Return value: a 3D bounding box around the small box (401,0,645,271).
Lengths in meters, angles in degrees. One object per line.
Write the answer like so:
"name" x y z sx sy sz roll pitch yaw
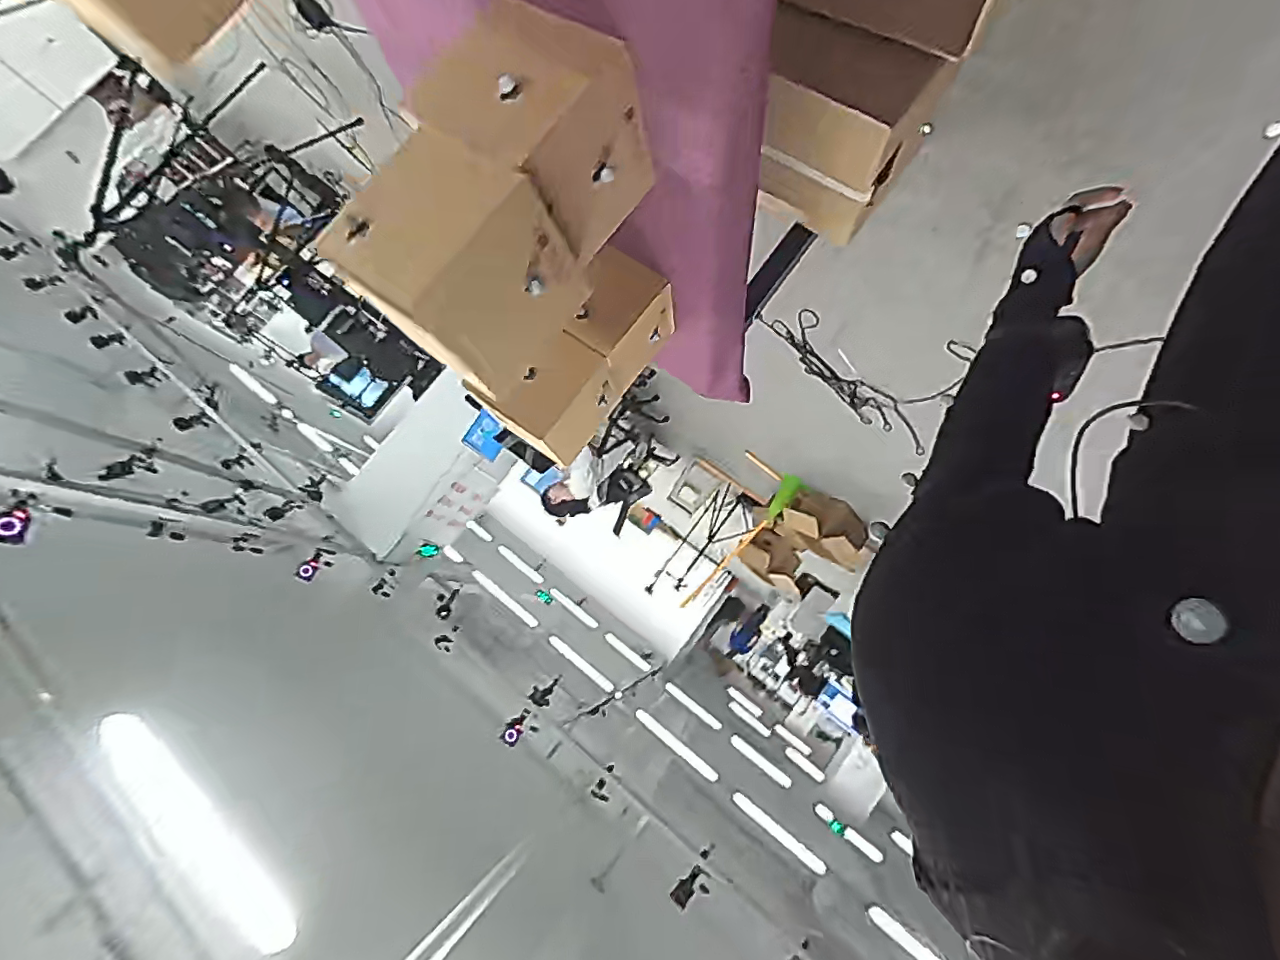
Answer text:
"small box" -0.110 -0.373 0.596 0.179 0.176 0.168 35 173 19

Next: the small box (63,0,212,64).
"small box" -0.251 -0.329 0.214 0.179 0.176 0.168 36 175 18

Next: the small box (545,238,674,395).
"small box" -0.060 -0.286 0.937 0.179 0.176 0.168 35 172 13

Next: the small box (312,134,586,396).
"small box" -0.190 -0.227 0.577 0.179 0.176 0.168 34 173 25
